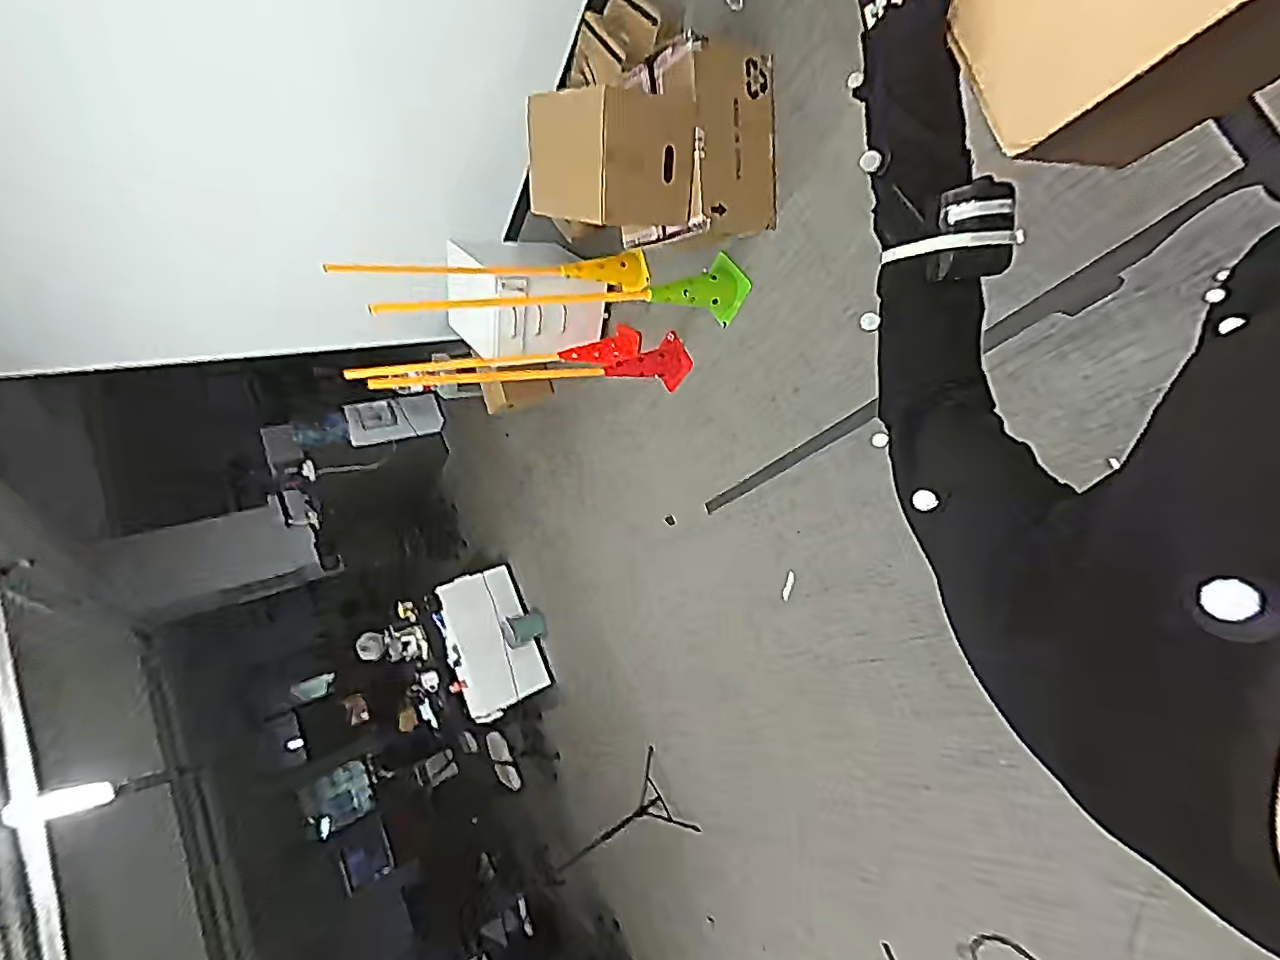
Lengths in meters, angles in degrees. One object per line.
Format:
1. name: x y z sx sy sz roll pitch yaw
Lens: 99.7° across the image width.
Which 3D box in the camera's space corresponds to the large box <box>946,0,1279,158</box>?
1. large box: 0.429 -0.482 0.328 0.408 0.320 0.320 -25 87 55
